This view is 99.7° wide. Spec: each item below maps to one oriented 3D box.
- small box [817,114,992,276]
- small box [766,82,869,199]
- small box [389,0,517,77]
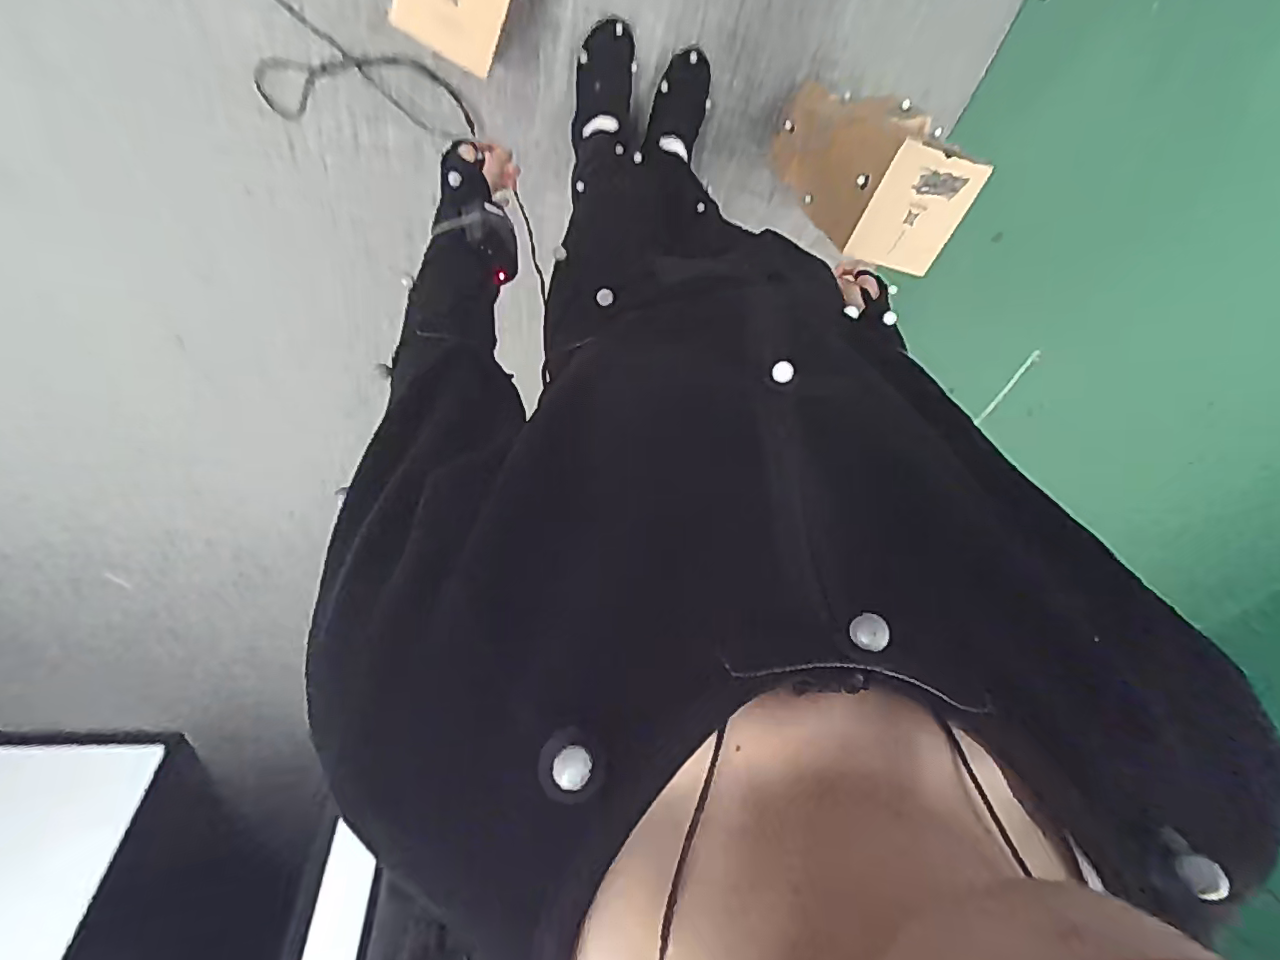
[{"bbox_3d":[0.423,-0.477,0.902,0.168,0.176,0.179,8,134,-16],"label":"small box"},{"bbox_3d":[0.393,-0.704,1.139,0.179,0.176,0.168,15,131,-21],"label":"small box"},{"bbox_3d":[-0.304,-0.839,0.918,0.168,0.176,0.179,20,130,-24],"label":"small box"}]
